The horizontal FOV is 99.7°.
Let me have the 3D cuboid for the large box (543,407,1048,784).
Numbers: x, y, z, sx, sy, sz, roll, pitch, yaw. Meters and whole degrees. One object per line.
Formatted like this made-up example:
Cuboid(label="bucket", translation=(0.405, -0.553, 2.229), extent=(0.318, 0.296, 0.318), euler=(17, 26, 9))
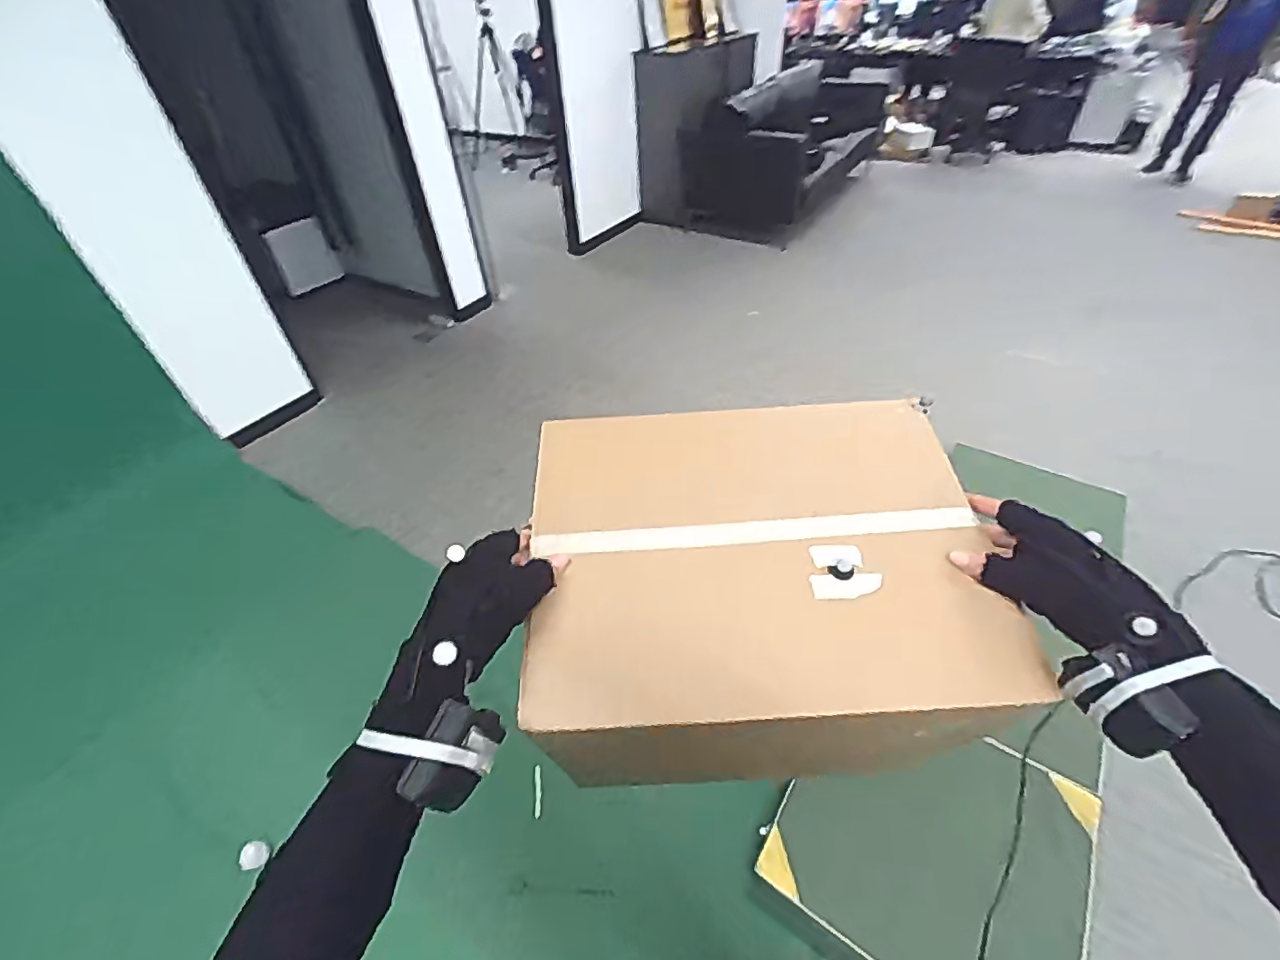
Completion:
Cuboid(label="large box", translation=(0.117, 0.143, 0.624), extent=(0.408, 0.320, 0.320), euler=(-3, 54, 0))
